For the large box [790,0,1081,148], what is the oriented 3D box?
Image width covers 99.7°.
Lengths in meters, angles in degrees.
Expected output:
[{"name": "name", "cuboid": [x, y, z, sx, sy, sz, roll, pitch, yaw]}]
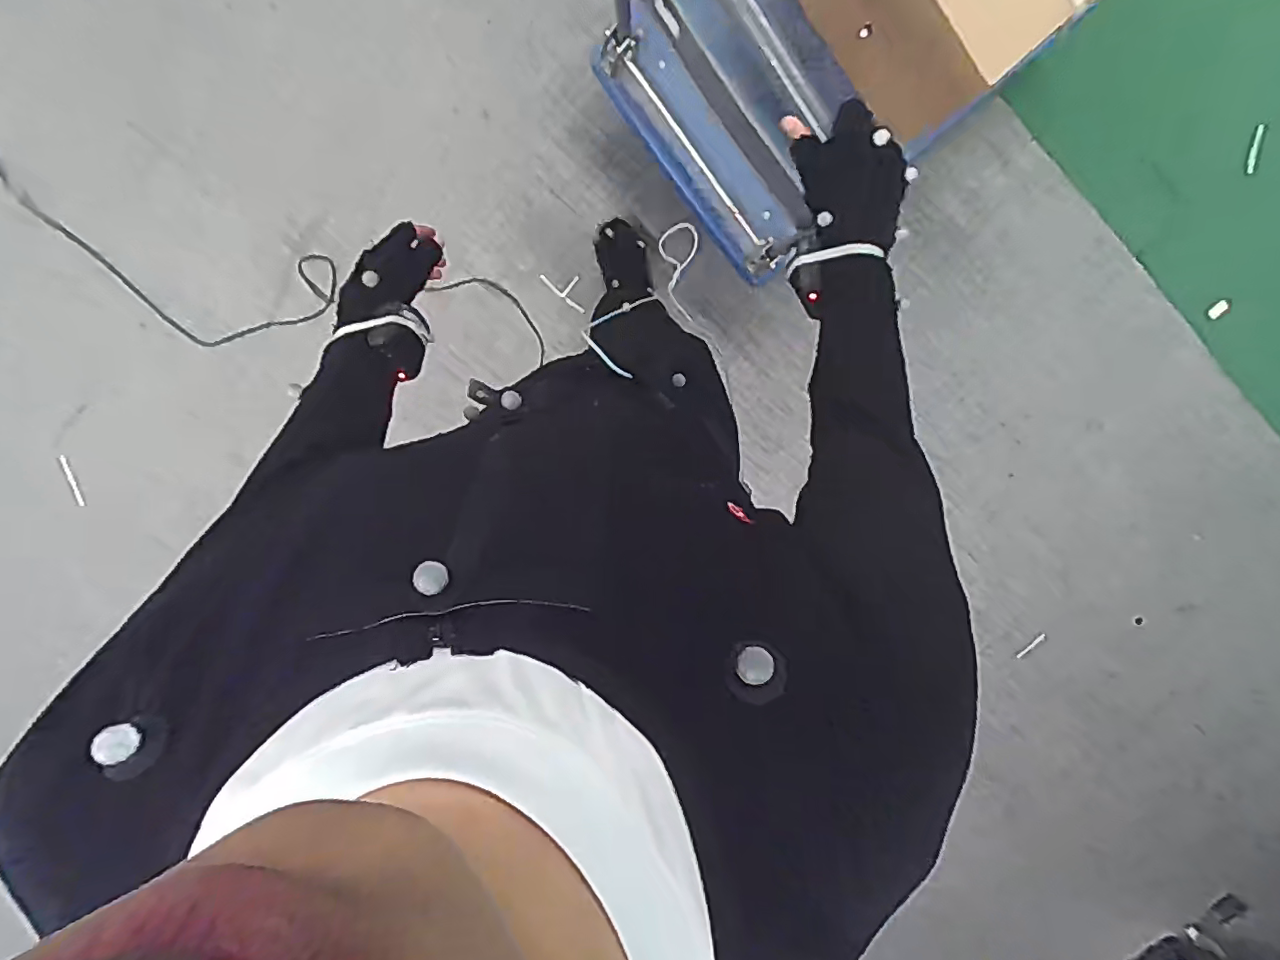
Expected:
[{"name": "large box", "cuboid": [0.502, -0.873, 0.905, 0.320, 0.320, 0.408, -40, 102, 10]}]
